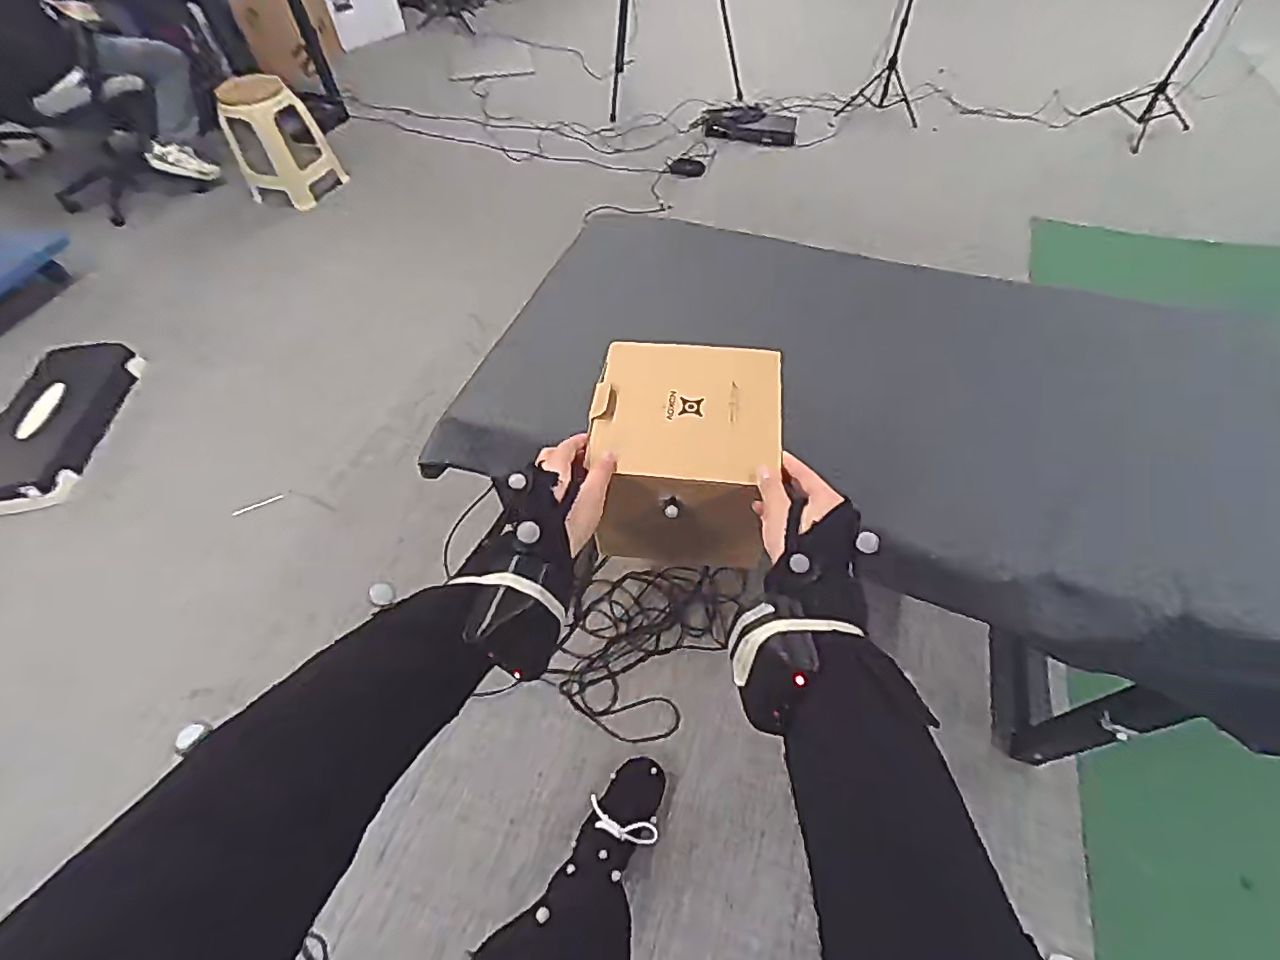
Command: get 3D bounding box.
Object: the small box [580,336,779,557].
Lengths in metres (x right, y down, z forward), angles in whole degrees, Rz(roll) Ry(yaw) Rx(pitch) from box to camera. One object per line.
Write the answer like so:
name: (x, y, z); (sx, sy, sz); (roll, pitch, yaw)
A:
small box: (0.045, -0.030, 0.575); (0.179, 0.176, 0.168); (5, 57, 5)
